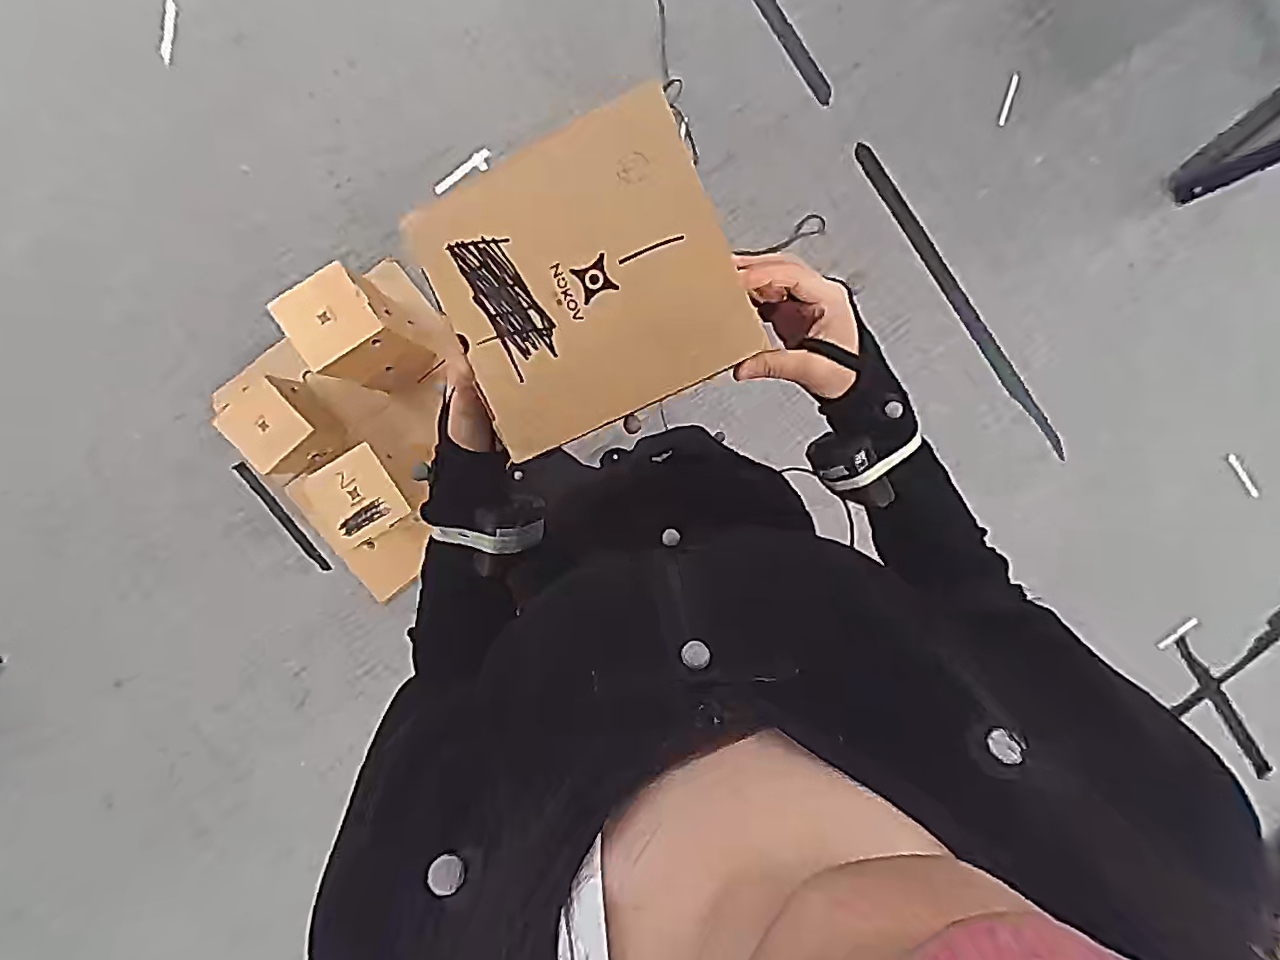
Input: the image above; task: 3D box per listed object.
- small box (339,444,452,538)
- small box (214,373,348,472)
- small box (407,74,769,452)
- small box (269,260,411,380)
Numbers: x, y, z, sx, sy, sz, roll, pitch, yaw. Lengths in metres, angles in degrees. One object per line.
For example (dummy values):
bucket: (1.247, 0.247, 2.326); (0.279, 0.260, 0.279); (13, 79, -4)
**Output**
small box: (-0.600, 0.020, 1.356); (0.168, 0.176, 0.179); (-29, 96, -2)
small box: (-0.875, -0.135, 1.335); (0.168, 0.176, 0.179); (-42, 94, 1)
small box: (-0.024, -0.133, 0.399); (0.179, 0.176, 0.168); (-23, 97, 8)
small box: (-0.637, -0.334, 1.171); (0.179, 0.176, 0.168); (-34, 94, -2)
